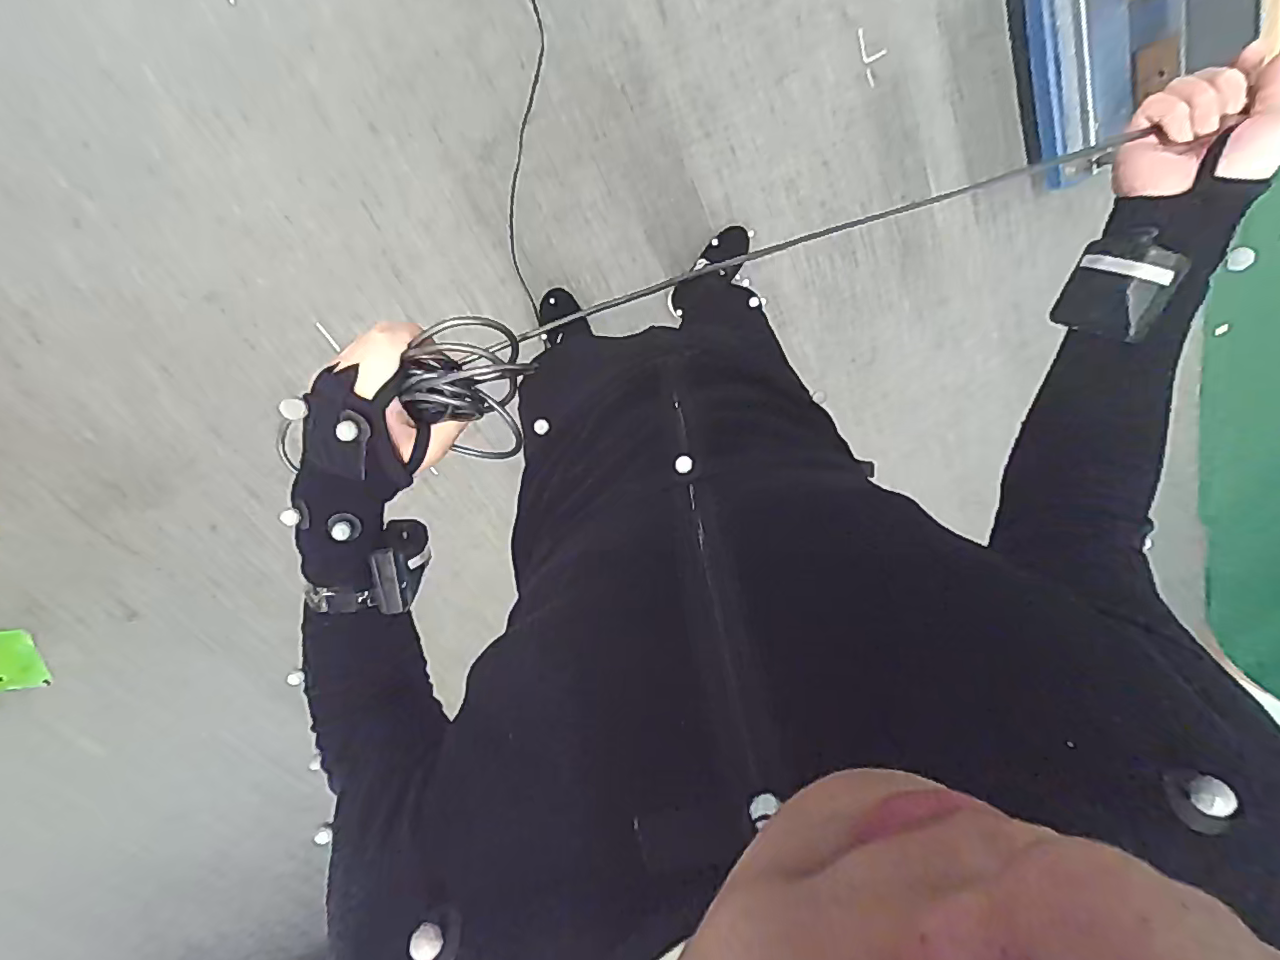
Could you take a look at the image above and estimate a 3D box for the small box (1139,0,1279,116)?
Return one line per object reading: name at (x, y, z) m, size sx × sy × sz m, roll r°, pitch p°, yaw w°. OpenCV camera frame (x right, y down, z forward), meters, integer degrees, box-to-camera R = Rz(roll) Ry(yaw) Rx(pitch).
small box at (1.327, -0.989, 1.261) m, size 0.179 × 0.176 × 0.168 m, roll -28°, pitch 117°, yaw 2°
